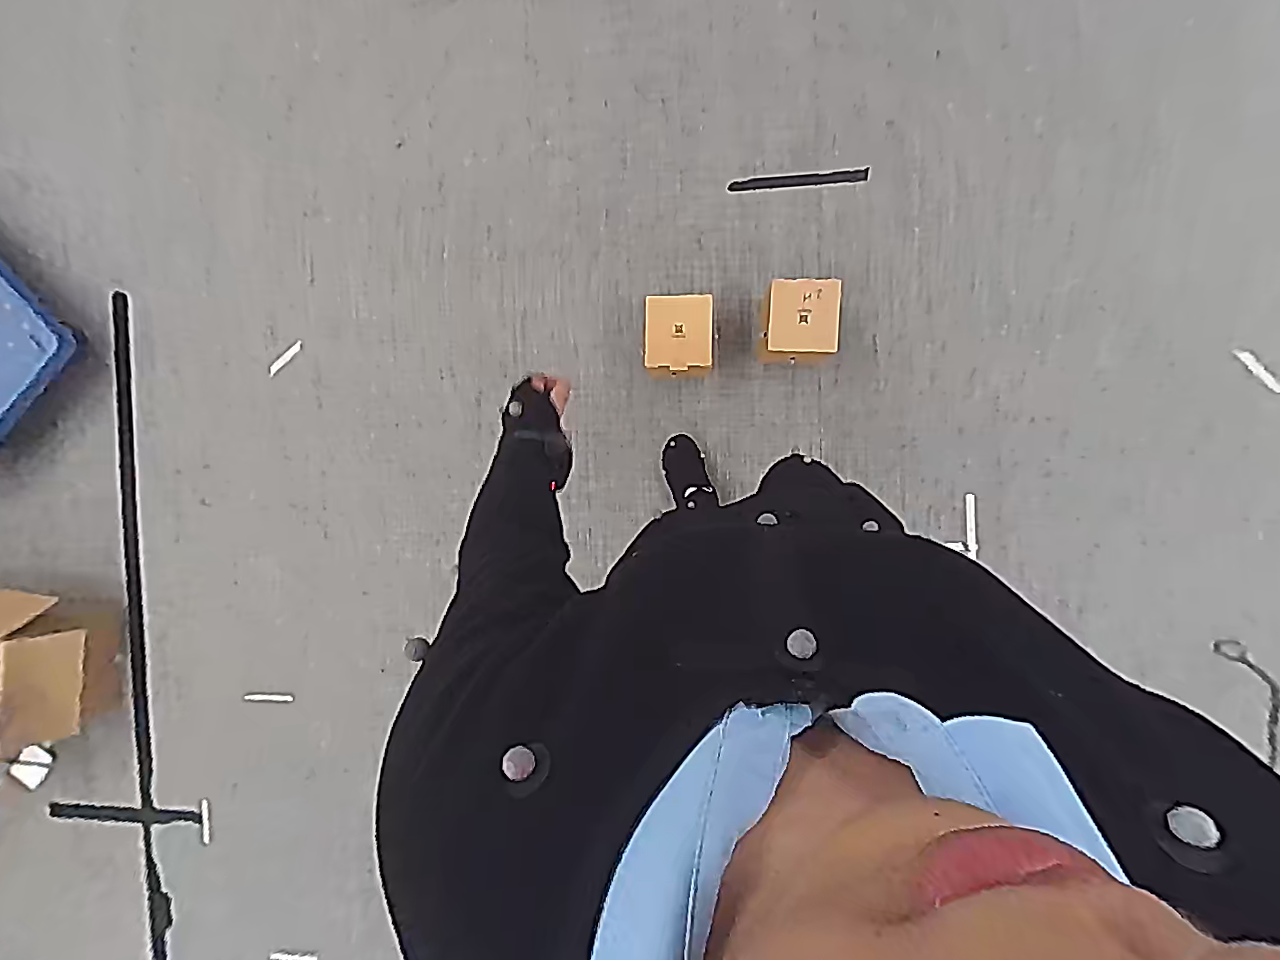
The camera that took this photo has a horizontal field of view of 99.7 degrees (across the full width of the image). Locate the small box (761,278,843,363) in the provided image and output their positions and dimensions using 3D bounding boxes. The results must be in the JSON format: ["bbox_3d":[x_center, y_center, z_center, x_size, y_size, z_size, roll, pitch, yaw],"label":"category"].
[{"bbox_3d":[0.403,-0.395,1.368,0.168,0.176,0.179,3,92,4],"label":"small box"}]

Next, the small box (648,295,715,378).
[{"bbox_3d":[0.108,-0.364,1.399,0.168,0.176,0.179,0,92,5],"label":"small box"}]
